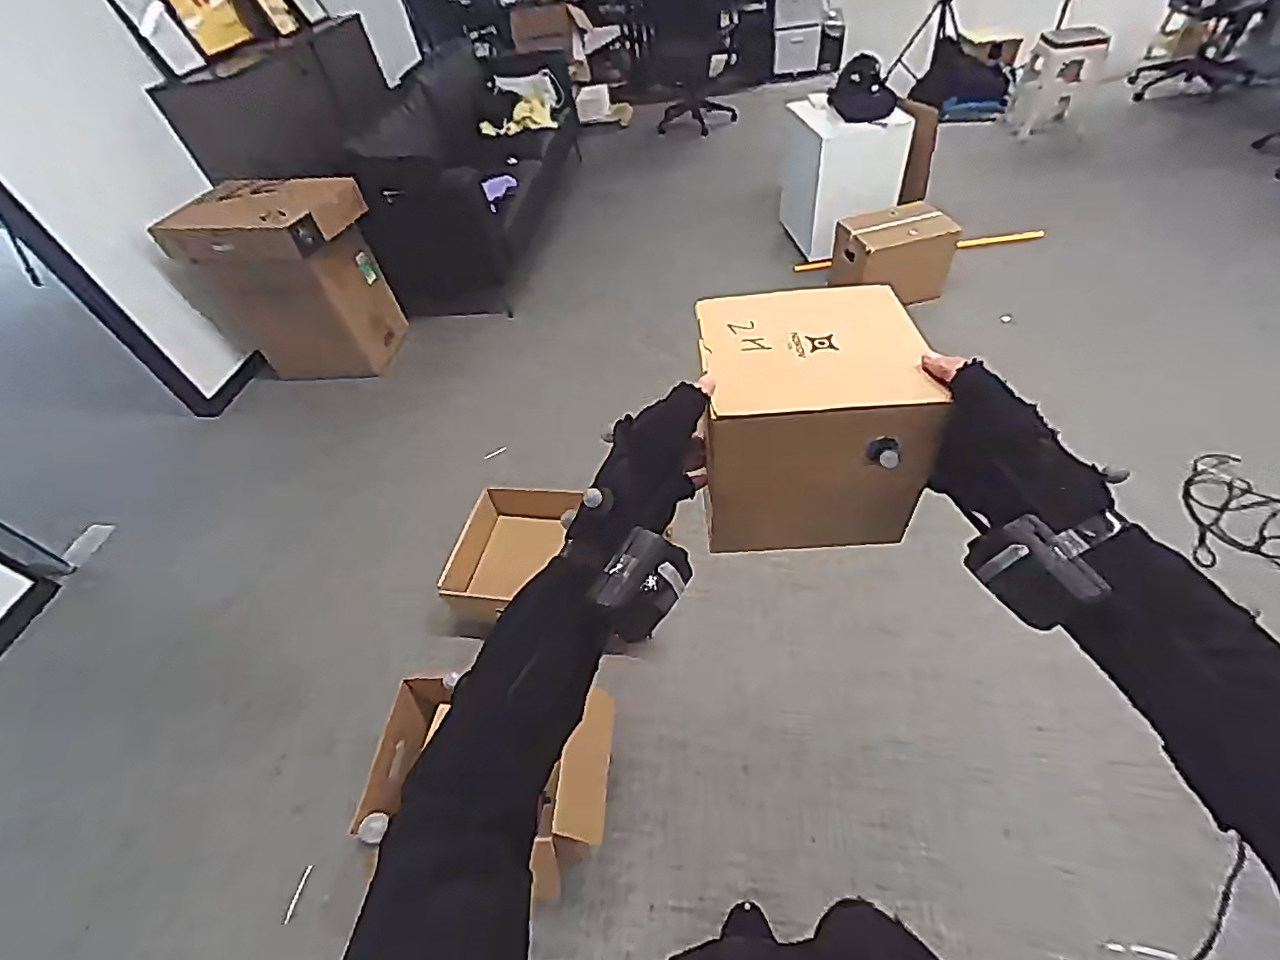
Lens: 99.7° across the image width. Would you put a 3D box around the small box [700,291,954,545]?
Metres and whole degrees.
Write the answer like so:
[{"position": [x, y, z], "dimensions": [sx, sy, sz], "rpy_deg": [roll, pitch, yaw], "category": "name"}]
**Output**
[{"position": [0.148, -0.054, 0.505], "dimensions": [0.179, 0.176, 0.168], "rpy_deg": [-4, 46, 4], "category": "small box"}]
